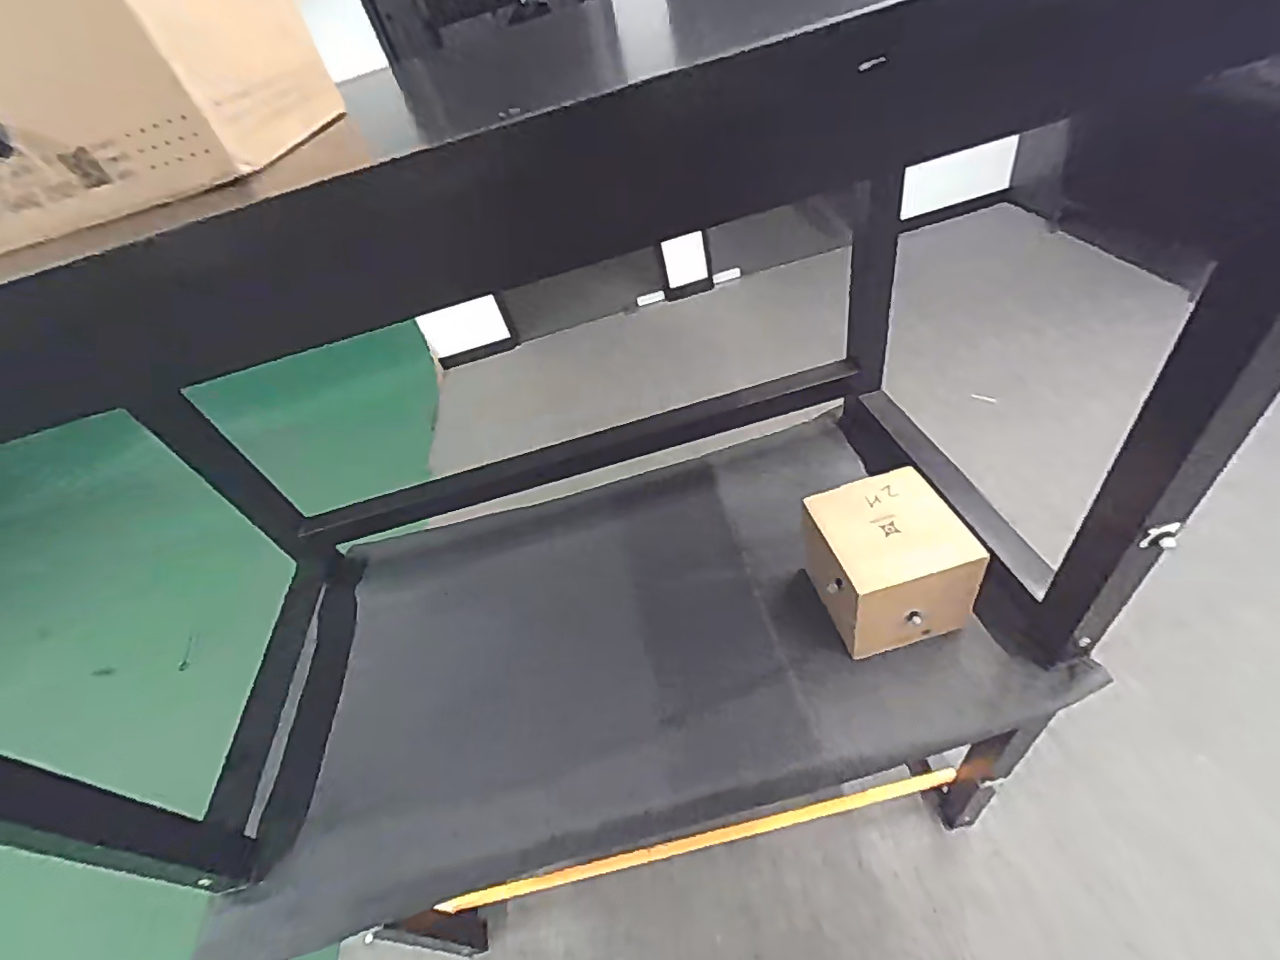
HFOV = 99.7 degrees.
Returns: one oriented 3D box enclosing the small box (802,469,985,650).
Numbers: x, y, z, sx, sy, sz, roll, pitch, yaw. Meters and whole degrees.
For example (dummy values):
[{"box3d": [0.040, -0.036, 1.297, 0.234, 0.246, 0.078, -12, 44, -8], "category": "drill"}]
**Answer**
[{"box3d": [0.346, 0.119, 0.769, 0.168, 0.176, 0.179, -17, 42, 1], "category": "small box"}]
